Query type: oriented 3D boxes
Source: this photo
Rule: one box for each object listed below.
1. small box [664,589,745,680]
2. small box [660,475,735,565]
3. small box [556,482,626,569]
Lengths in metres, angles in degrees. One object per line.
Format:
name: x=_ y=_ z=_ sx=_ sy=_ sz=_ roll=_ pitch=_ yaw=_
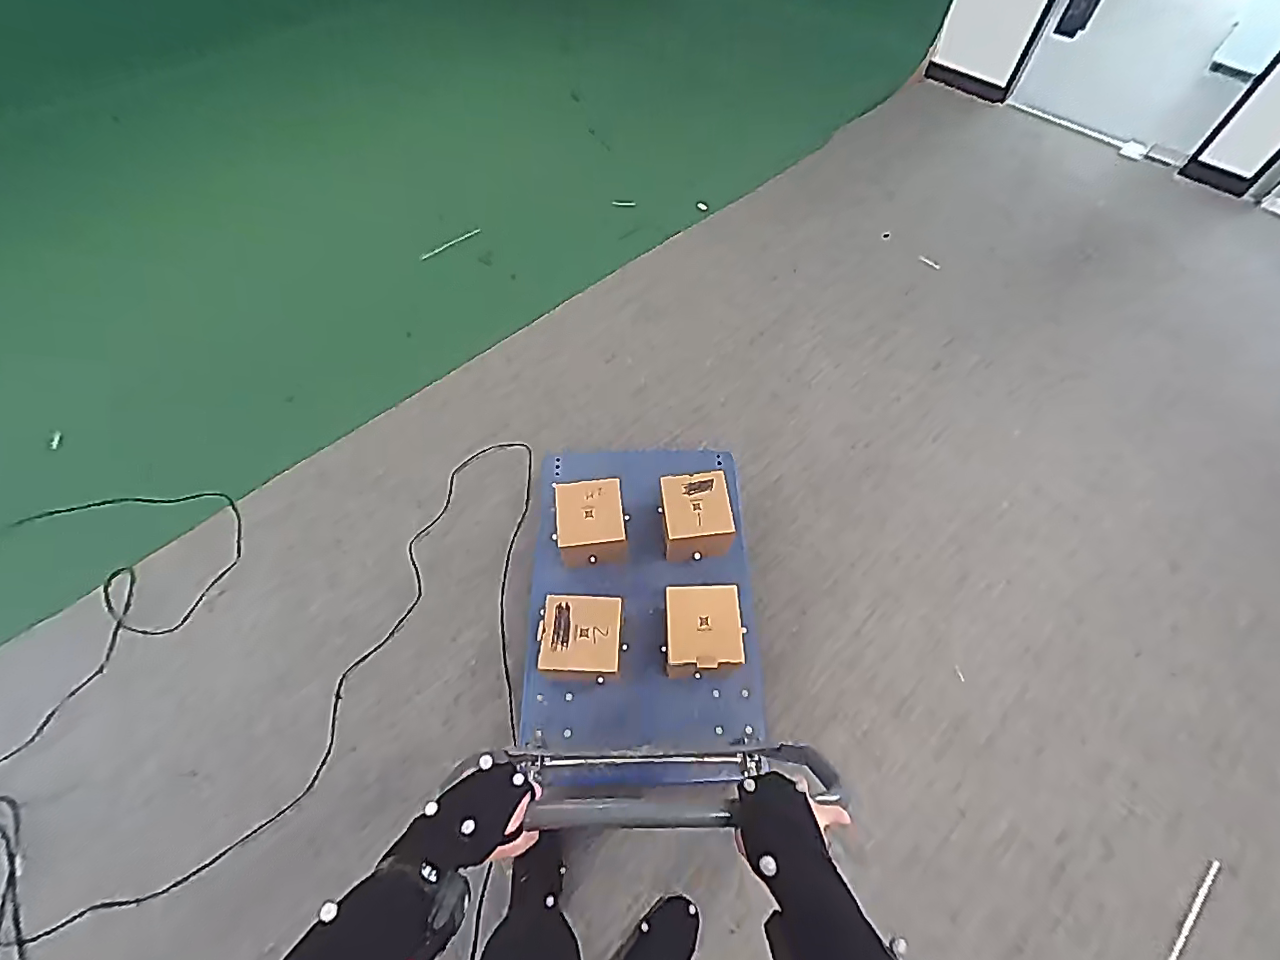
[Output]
small box: x=0.144 y=0.367 z=1.274 sx=0.168 sy=0.176 sz=0.179 roll=-1 pitch=62 yaw=0
small box: x=0.143 y=0.107 z=1.416 sx=0.168 sy=0.176 sz=0.179 roll=-6 pitch=62 yaw=-2
small box: x=-0.126 y=0.125 z=1.409 sx=0.168 sy=0.176 sz=0.179 roll=-5 pitch=61 yaw=-3
